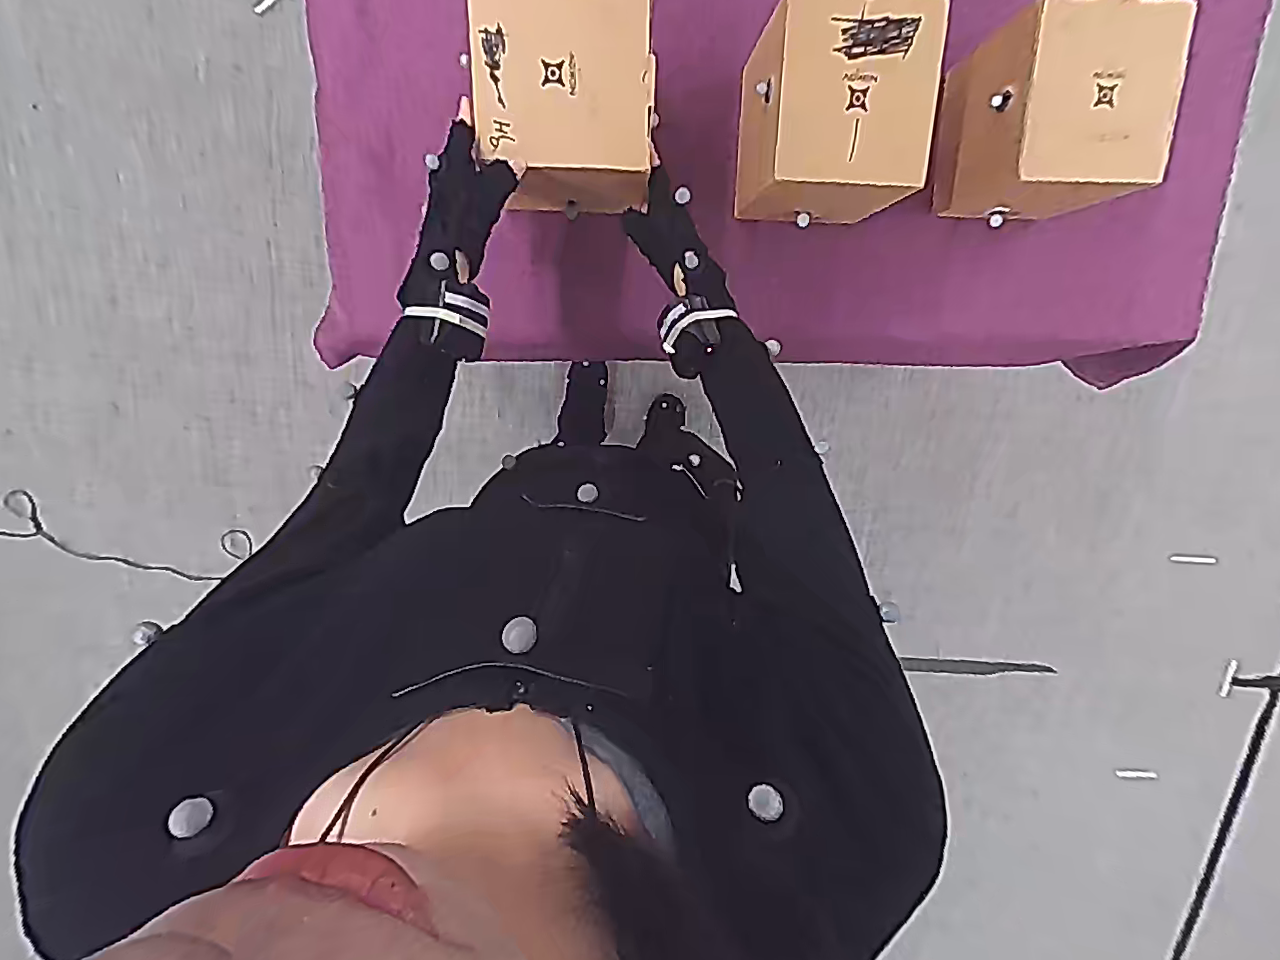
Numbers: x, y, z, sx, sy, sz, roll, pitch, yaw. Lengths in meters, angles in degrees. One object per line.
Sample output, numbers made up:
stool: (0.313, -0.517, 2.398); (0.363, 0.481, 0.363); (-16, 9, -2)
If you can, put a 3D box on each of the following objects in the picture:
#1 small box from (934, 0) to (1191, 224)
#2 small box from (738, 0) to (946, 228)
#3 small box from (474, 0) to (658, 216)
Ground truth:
small box: (0.482, -0.423, 0.647); (0.168, 0.176, 0.179); (-1, 103, -3)
small box: (0.216, -0.410, 0.627); (0.168, 0.176, 0.179); (1, 102, -4)
small box: (-0.079, -0.407, 0.605); (0.179, 0.176, 0.168); (-1, 102, -5)
